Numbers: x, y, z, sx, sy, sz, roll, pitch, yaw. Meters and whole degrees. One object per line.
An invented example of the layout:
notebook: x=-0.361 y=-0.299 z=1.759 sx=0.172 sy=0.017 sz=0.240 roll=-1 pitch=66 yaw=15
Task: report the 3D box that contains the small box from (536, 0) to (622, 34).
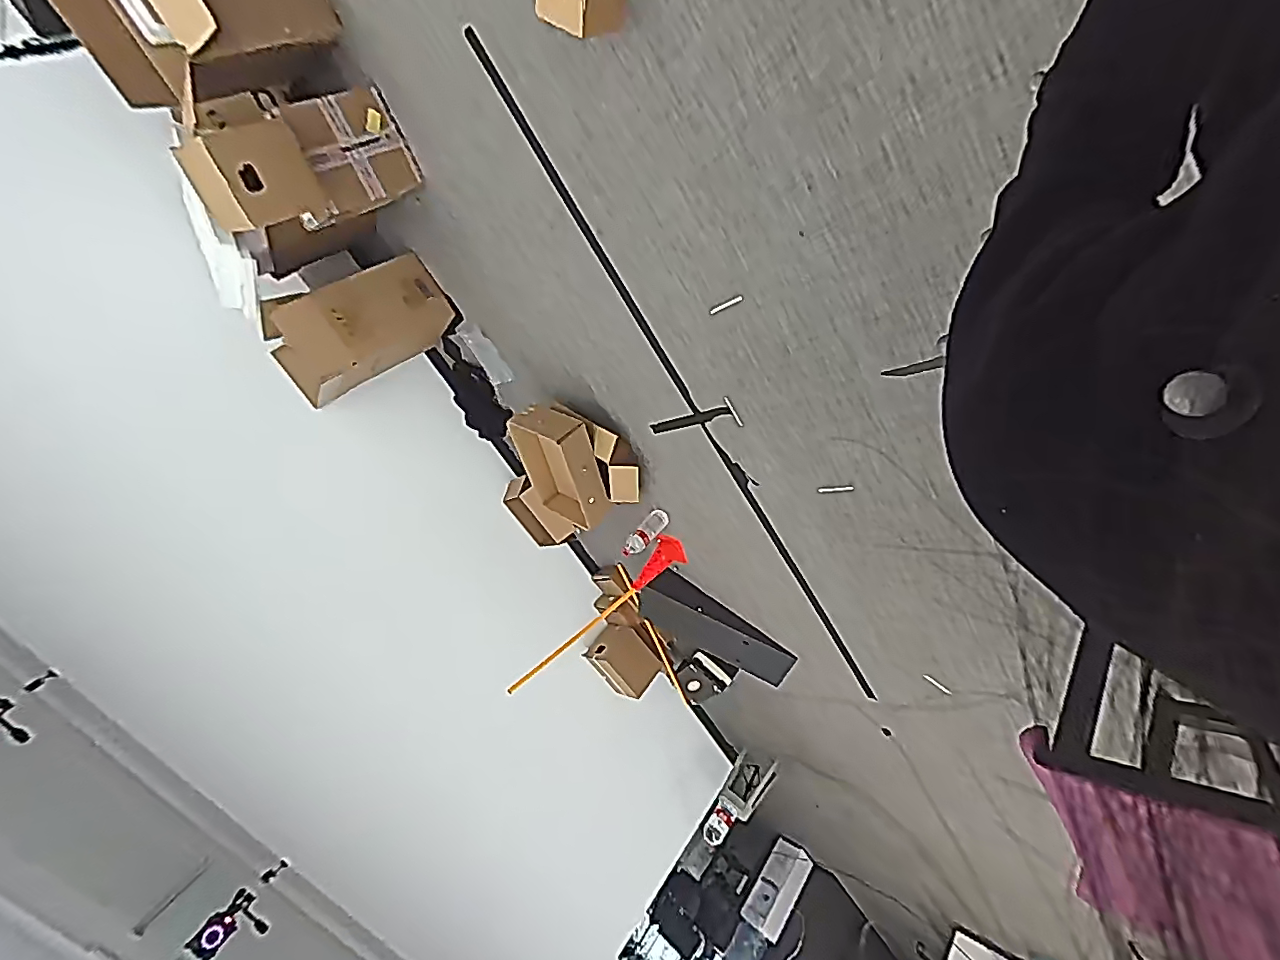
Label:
small box: x=-0.152 y=-1.307 z=1.409 sx=0.179 sy=0.176 sz=0.168 roll=38 pitch=148 yaw=16
